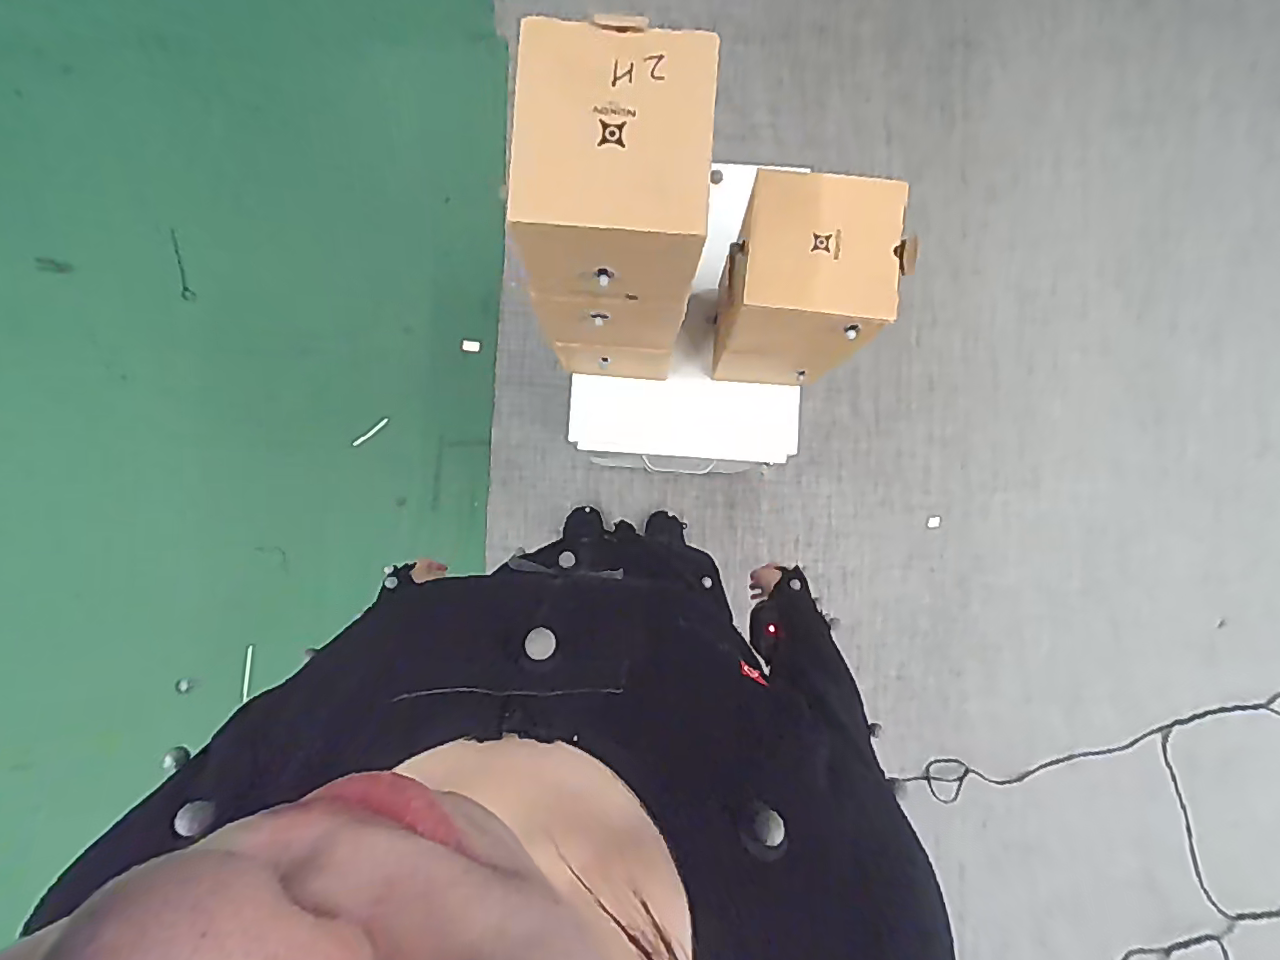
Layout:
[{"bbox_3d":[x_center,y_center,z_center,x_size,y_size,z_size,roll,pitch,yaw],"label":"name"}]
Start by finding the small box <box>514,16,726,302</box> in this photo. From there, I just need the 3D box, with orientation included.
[{"bbox_3d":[-0.018,-0.286,0.522,0.168,0.176,0.179,4,88,-2],"label":"small box"}]

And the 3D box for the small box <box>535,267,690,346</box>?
[{"bbox_3d":[-0.027,-0.277,0.687,0.179,0.176,0.168,4,88,-2],"label":"small box"}]

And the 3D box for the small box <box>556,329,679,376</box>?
[{"bbox_3d":[-0.028,-0.267,0.852,0.179,0.176,0.168,4,88,-2],"label":"small box"}]

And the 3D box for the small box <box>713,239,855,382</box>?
[{"bbox_3d":[0.217,-0.256,0.853,0.179,0.176,0.168,4,87,2],"label":"small box"}]
